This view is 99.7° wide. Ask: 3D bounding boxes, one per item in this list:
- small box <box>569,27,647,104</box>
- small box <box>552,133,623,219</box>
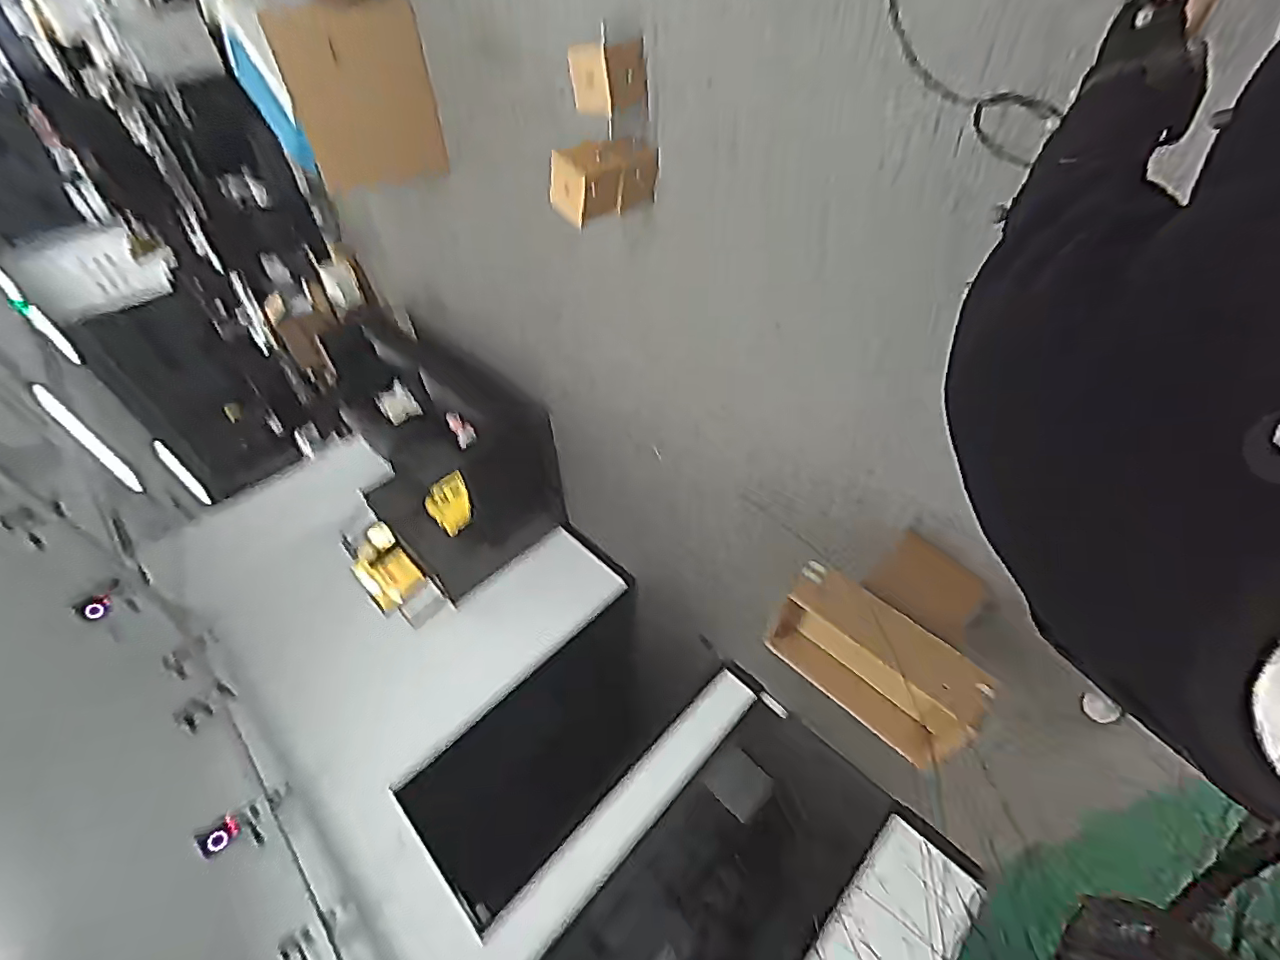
[{"bbox_3d":[-0.092,-1.302,1.699,0.179,0.176,0.168,31,146,36],"label":"small box"},{"bbox_3d":[-0.176,-1.022,1.811,0.168,0.176,0.179,45,151,15],"label":"small box"}]
